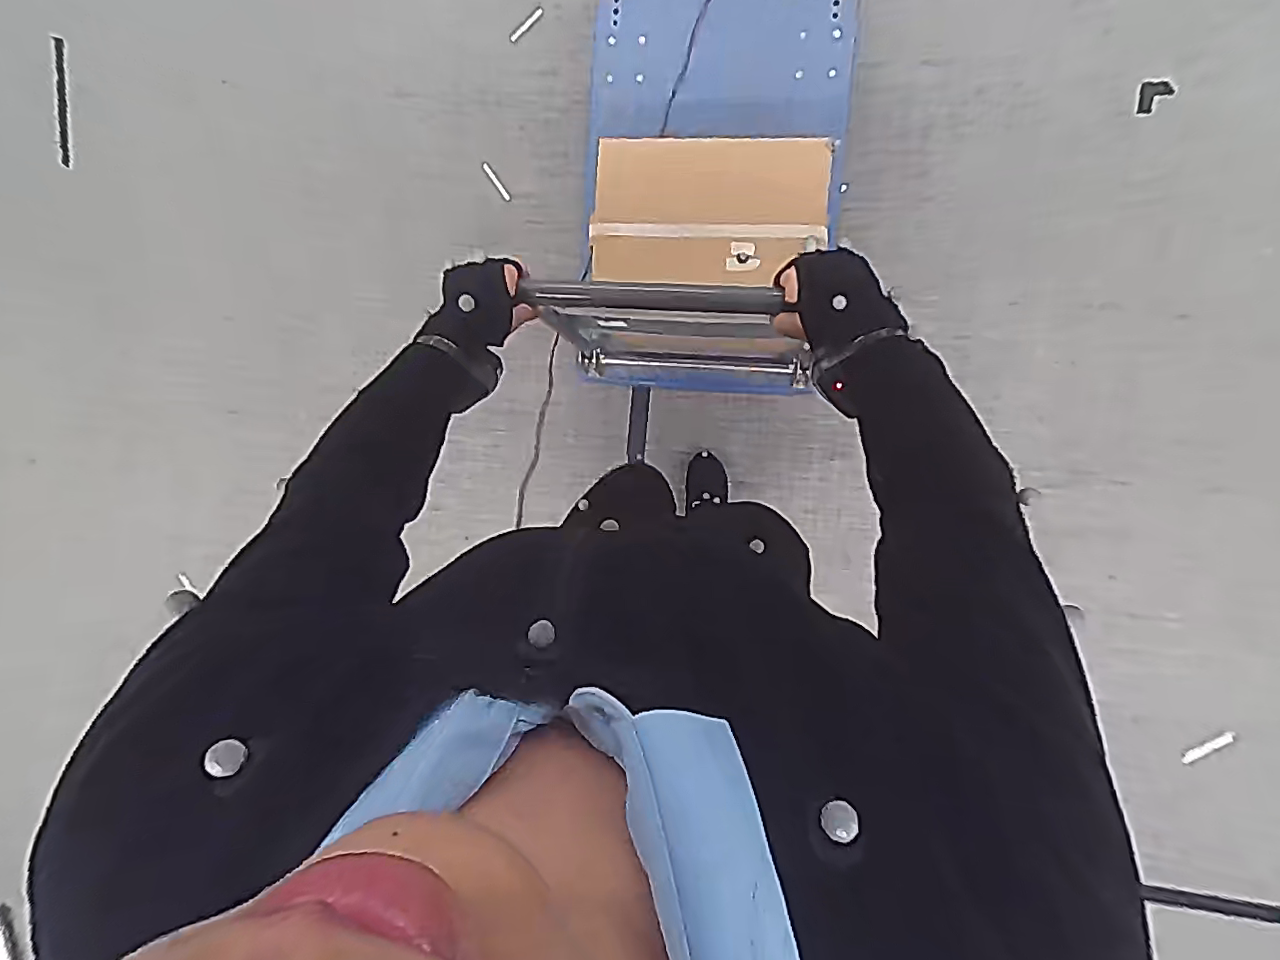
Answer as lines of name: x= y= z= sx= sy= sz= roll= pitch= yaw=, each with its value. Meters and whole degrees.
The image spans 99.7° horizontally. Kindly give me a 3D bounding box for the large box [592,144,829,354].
large box: x=0.132 y=-0.439 z=1.096 sx=0.408 sy=0.320 sz=0.320 roll=4 pitch=96 yaw=7
